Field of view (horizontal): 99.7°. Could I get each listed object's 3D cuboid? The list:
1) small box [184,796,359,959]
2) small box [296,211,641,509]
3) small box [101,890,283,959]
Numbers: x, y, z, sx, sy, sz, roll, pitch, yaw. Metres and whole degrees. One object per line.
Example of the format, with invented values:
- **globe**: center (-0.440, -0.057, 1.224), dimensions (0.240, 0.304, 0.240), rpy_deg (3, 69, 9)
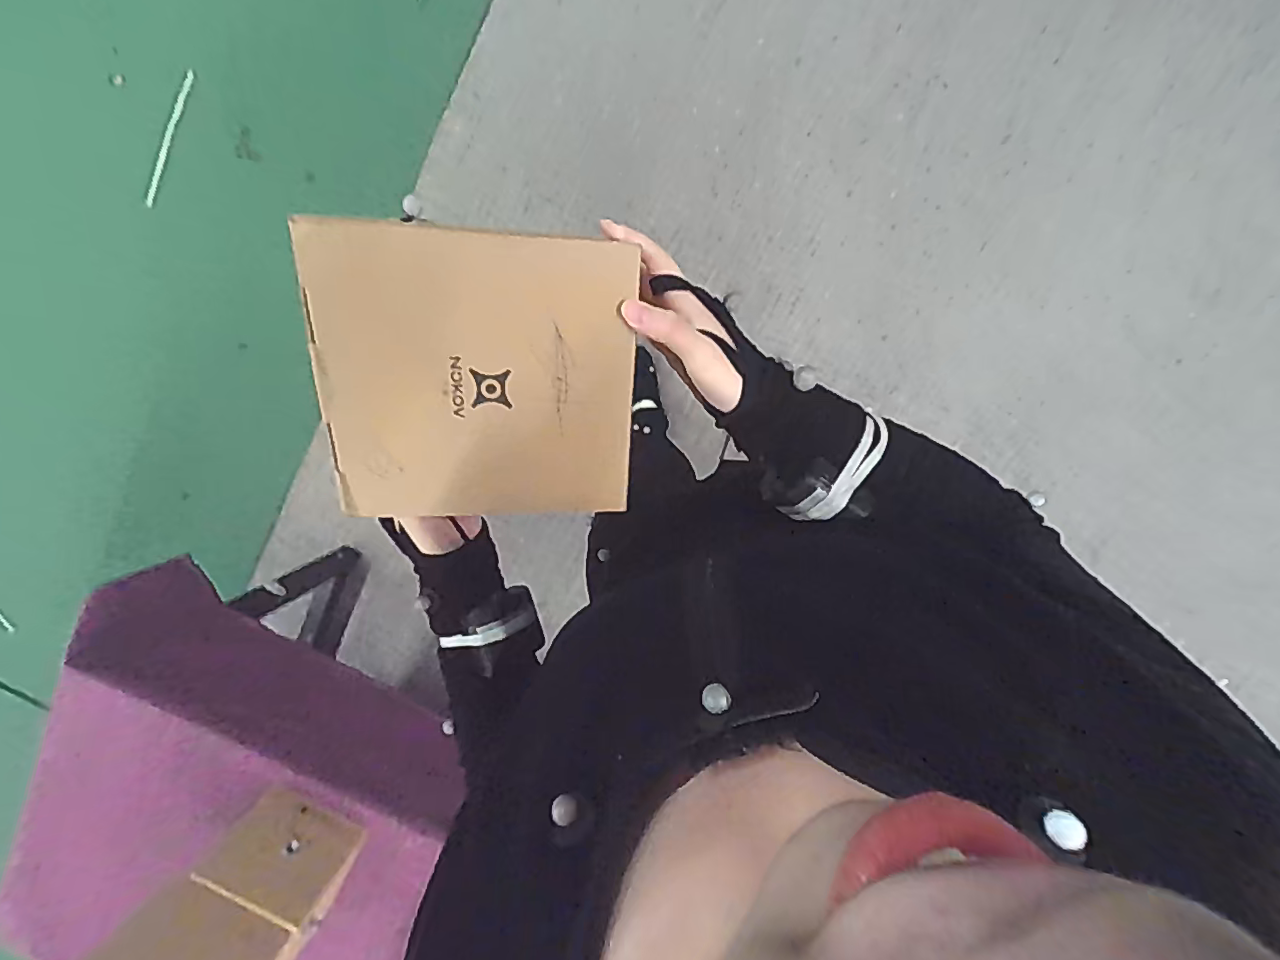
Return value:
- **small box**: center (-0.556, 0.620, 0.803), dimensions (0.168, 0.176, 0.179), rpy_deg (29, 101, -1)
- **small box**: center (-0.105, -0.090, 0.384), dimensions (0.179, 0.176, 0.168), rpy_deg (-1, 116, -12)
- **small box**: center (-0.576, 0.646, 0.641), dimensions (0.179, 0.176, 0.168), rpy_deg (29, 100, 0)
